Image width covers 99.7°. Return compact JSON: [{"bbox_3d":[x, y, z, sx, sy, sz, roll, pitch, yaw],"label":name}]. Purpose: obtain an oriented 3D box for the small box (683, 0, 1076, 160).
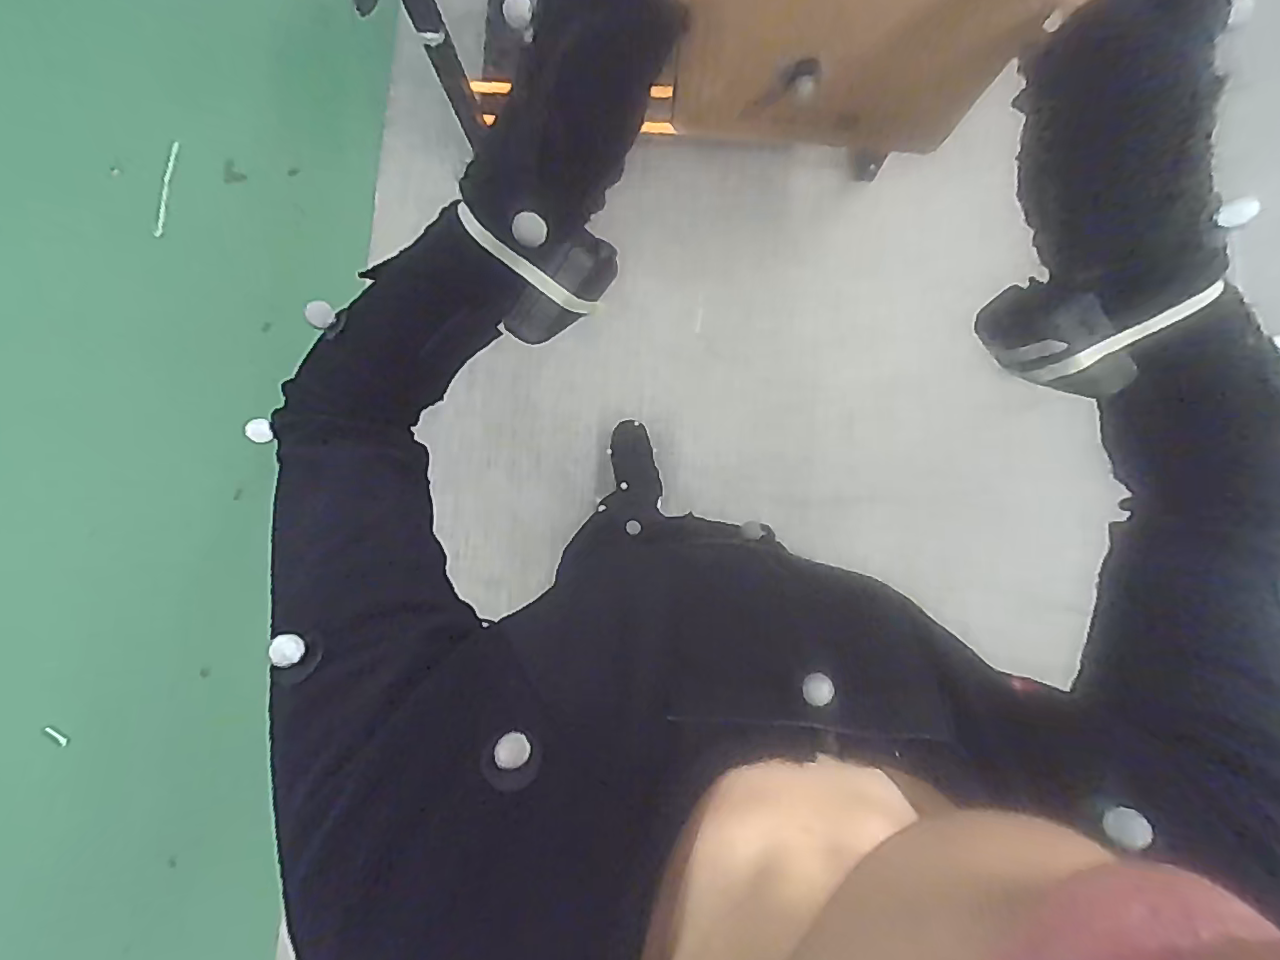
[{"bbox_3d":[0.113,-0.295,0.259,0.168,0.176,0.179,6,90,1],"label":"small box"}]
